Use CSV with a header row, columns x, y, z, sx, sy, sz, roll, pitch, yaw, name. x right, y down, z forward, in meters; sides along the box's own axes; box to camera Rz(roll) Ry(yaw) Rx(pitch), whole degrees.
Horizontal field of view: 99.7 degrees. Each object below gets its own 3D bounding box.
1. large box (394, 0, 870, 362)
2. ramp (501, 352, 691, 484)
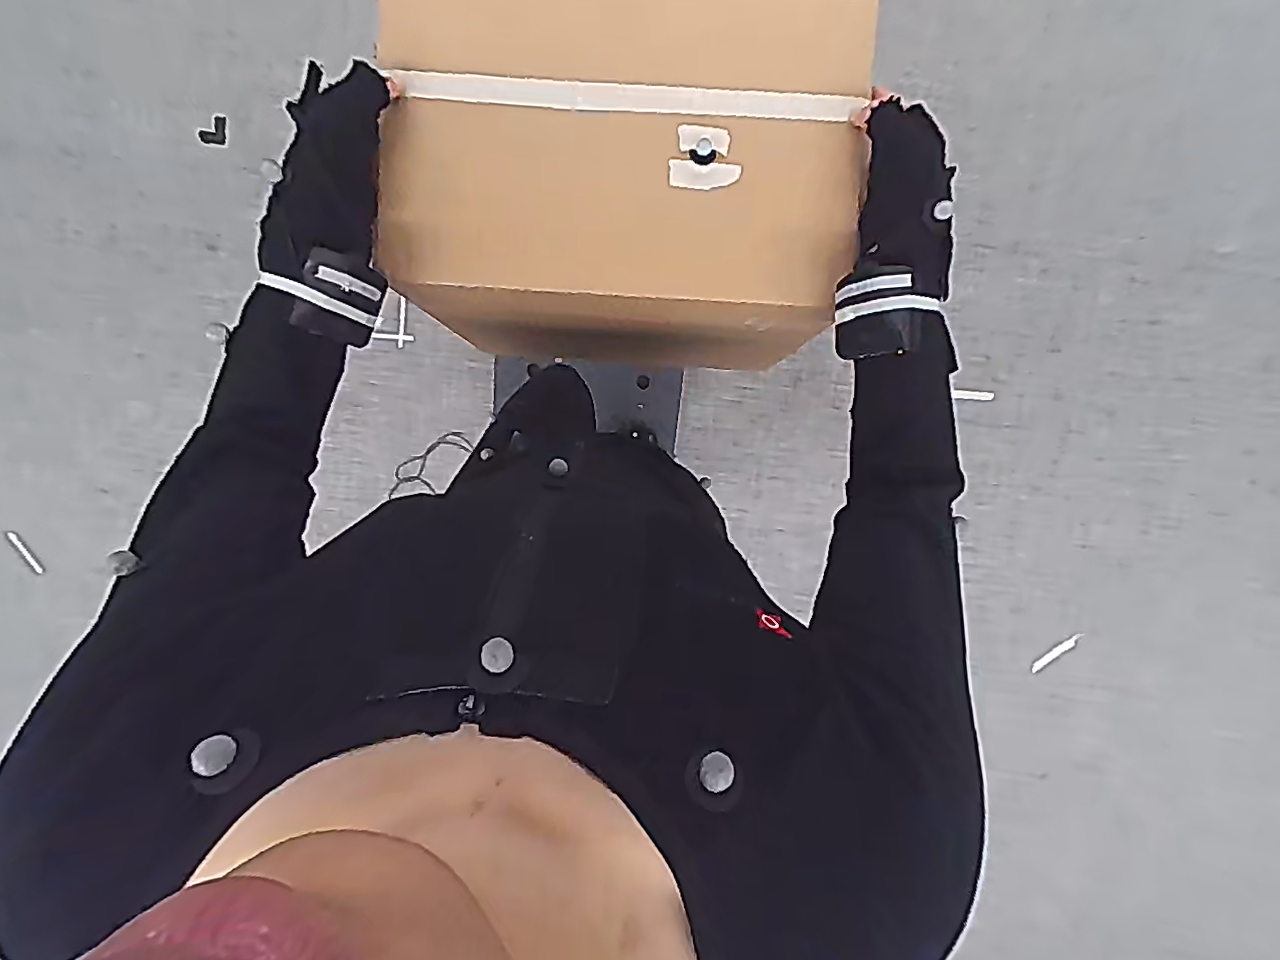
x,y,z,sx,sy,sz,roll,pitch,yaw,name
-0.009,-0.322,0.608,0.408,0.320,0.320,3,92,-1,large box
-0.095,-0.484,1.356,0.509,0.206,0.991,4,97,-1,ramp
